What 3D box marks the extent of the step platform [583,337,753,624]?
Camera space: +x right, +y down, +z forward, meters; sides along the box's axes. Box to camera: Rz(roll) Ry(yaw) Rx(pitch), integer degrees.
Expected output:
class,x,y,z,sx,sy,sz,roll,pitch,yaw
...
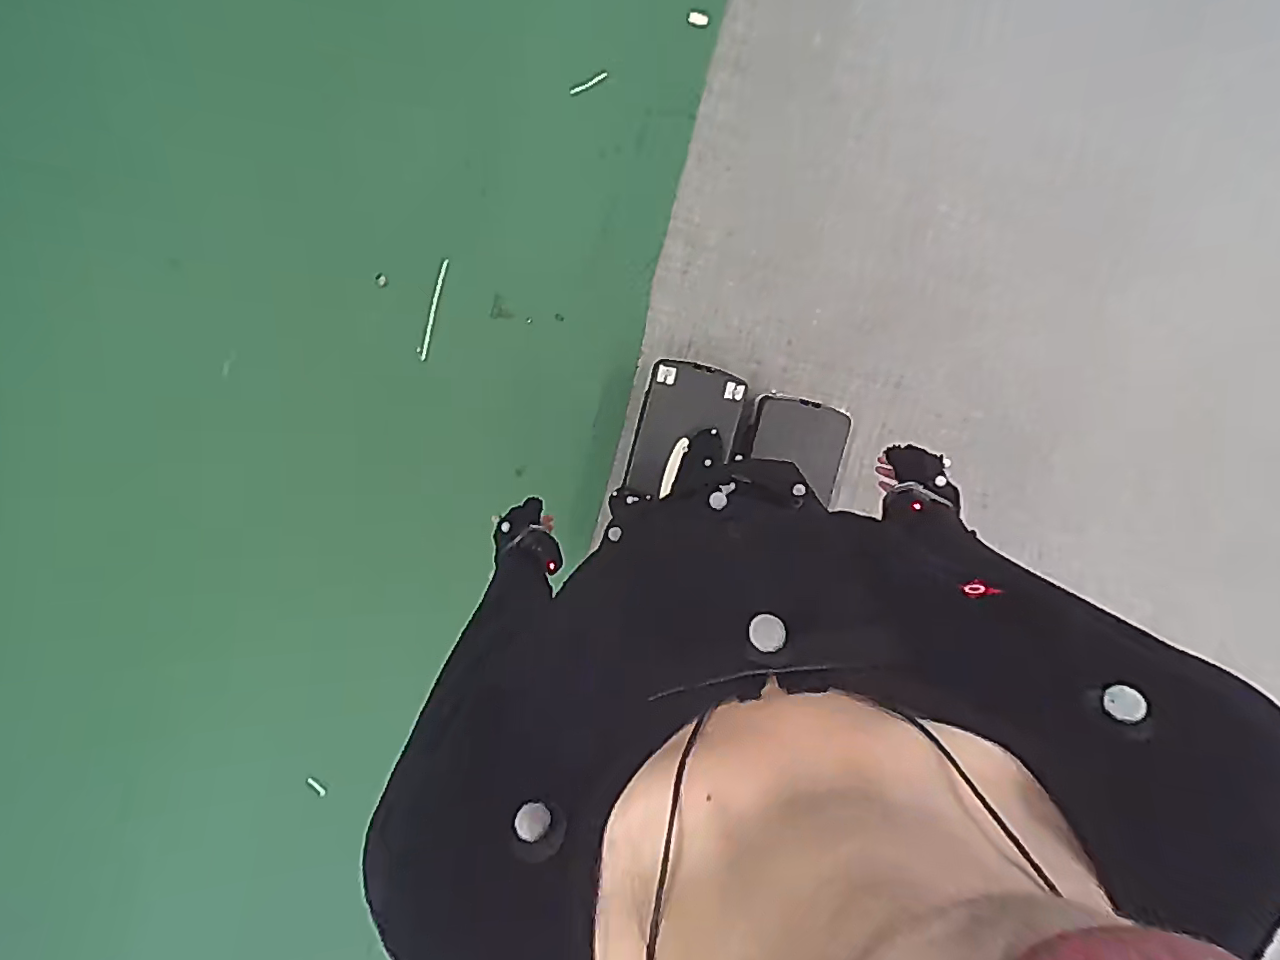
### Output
class,x,y,z,sx,sy,sz,roll,pitch,yaw
step platform,0.065,0.001,1.389,0.286,0.204,0.684,14,95,-1
